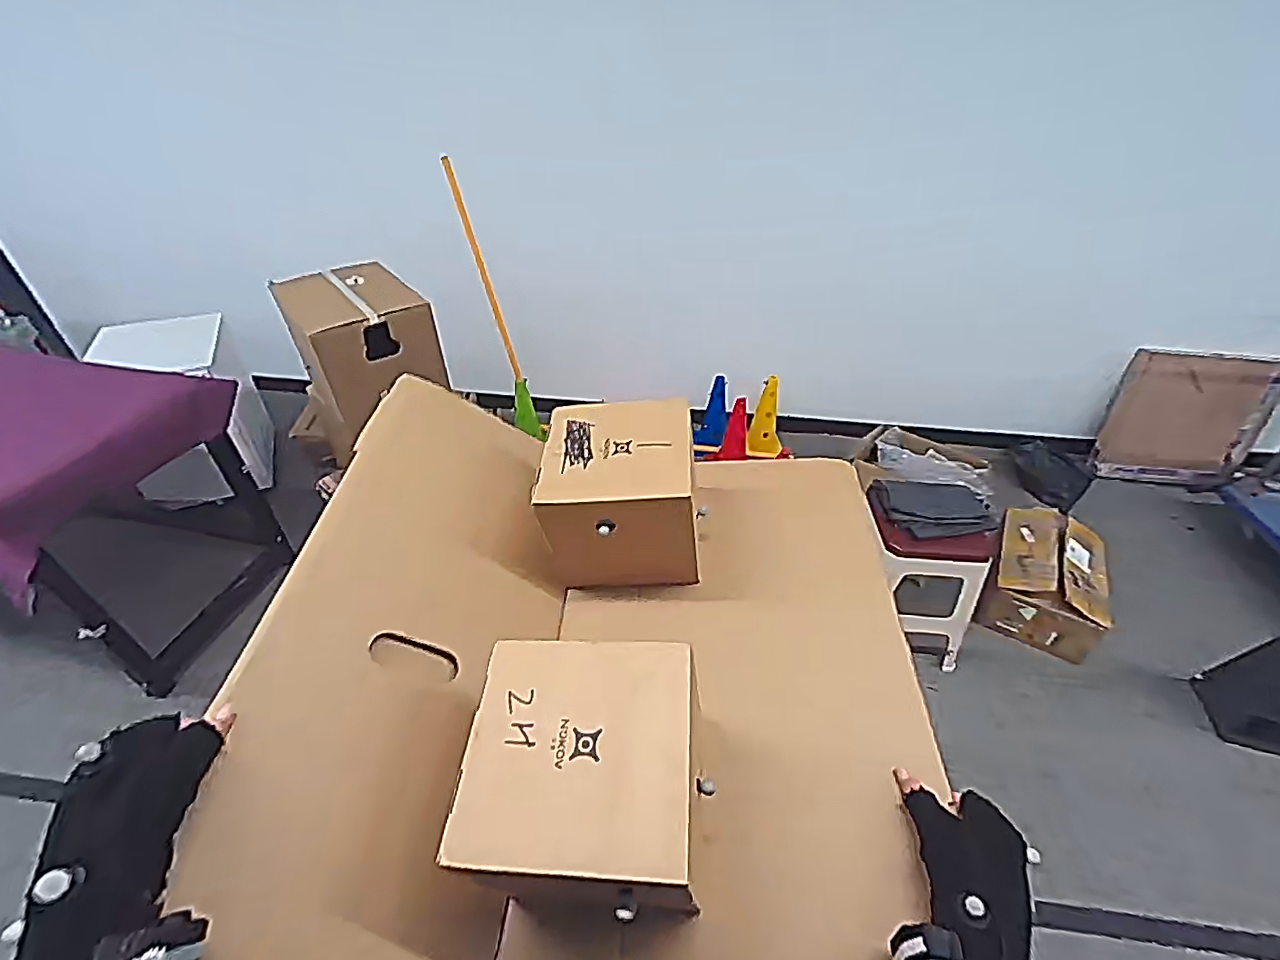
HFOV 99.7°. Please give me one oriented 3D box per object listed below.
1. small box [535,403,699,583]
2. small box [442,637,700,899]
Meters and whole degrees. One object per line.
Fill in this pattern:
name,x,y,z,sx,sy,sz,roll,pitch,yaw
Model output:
small box,-0.017,0.022,0.697,0.179,0.176,0.168,-3,47,7
small box,-0.038,0.256,0.481,0.179,0.176,0.168,-1,47,9
